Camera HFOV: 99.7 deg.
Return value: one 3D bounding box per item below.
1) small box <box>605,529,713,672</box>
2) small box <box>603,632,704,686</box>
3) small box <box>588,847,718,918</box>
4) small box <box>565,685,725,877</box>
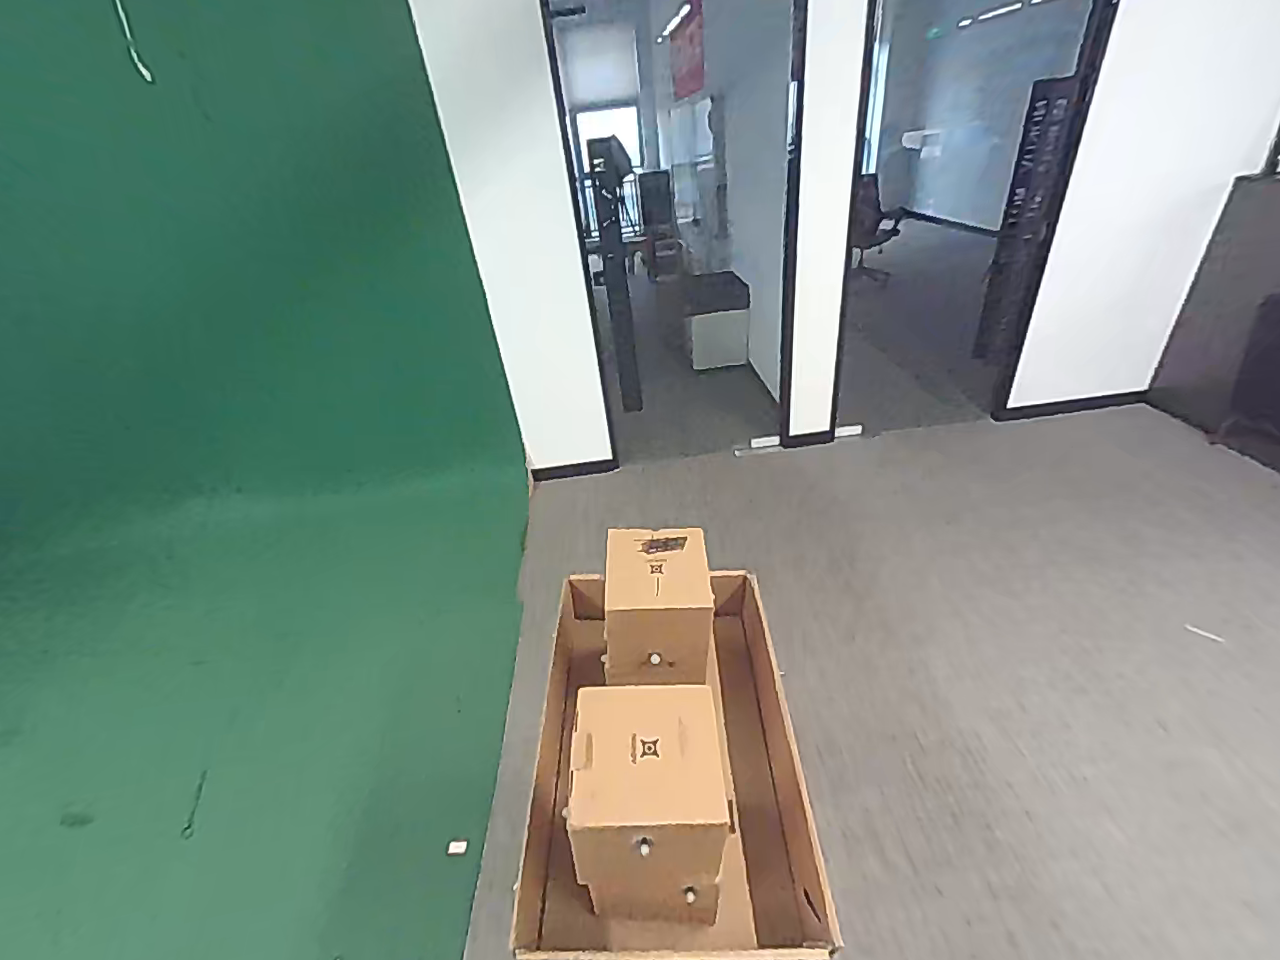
[{"bbox_3d":[0.028,0.202,0.920,0.168,0.176,0.179,-1,39,0],"label":"small box"},{"bbox_3d":[0.028,0.329,1.024,0.179,0.176,0.168,-1,39,1],"label":"small box"},{"bbox_3d":[0.018,0.510,0.789,0.179,0.176,0.168,2,36,3],"label":"small box"},{"bbox_3d":[0.006,0.382,0.689,0.179,0.176,0.168,-1,38,-1],"label":"small box"}]
